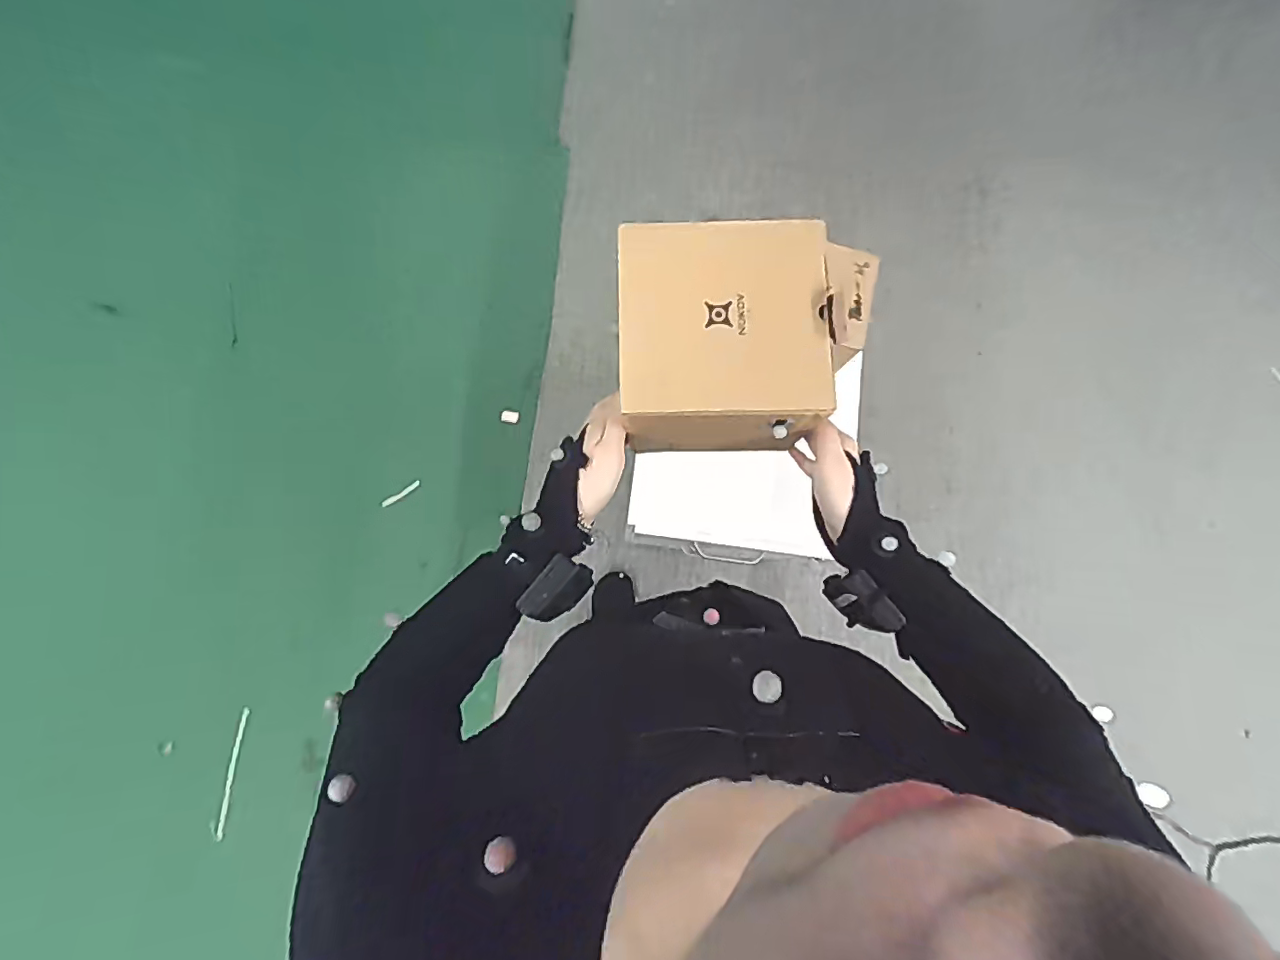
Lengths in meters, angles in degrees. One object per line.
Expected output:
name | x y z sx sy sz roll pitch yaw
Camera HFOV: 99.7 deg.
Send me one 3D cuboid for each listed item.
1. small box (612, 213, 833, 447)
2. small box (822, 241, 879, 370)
small box | 0.067 -0.128 0.519 0.179 0.176 0.168 -1 82 0
small box | 0.275 -0.287 0.926 0.179 0.176 0.168 15 81 1
